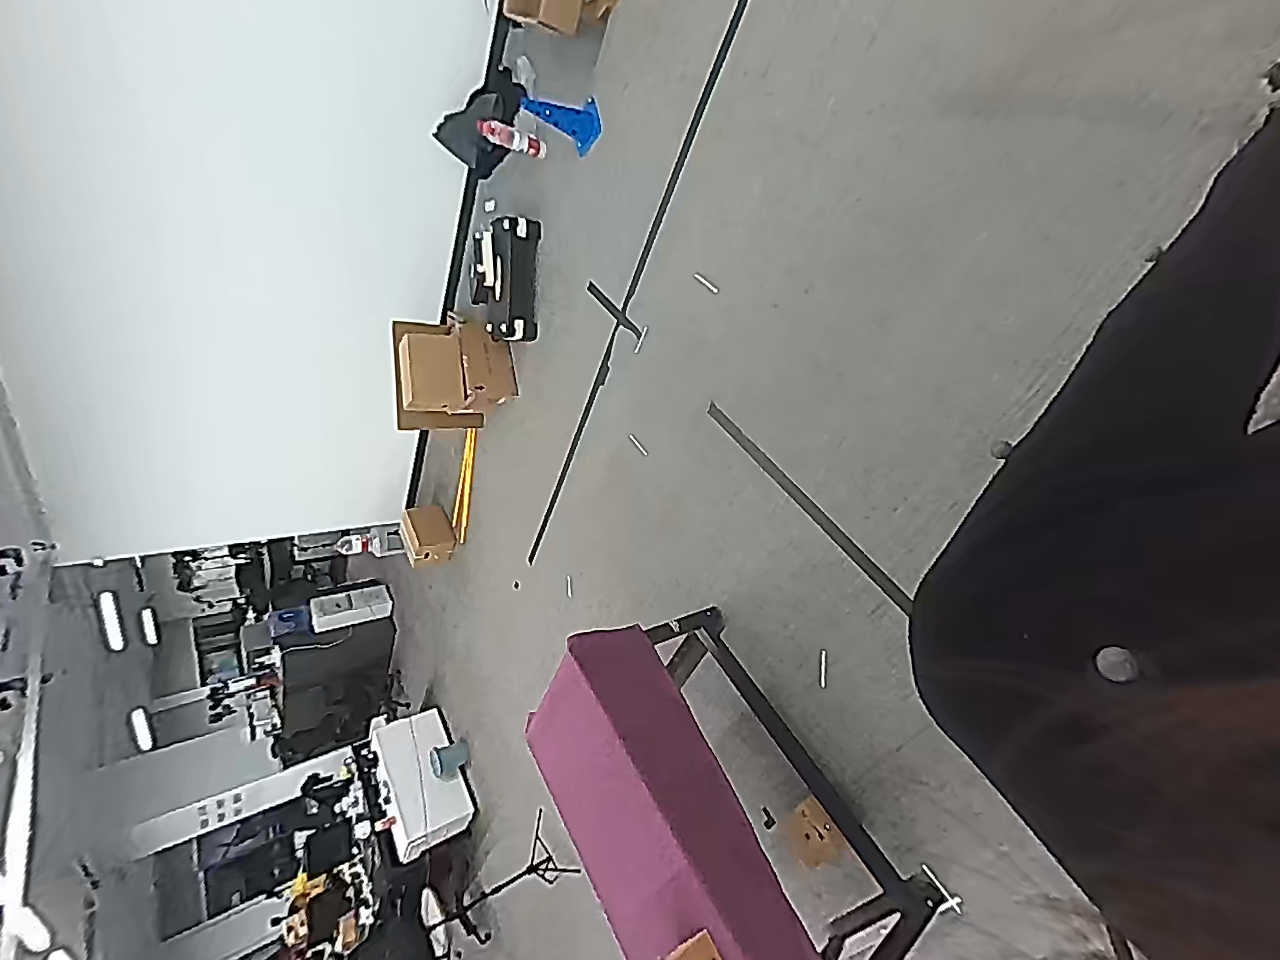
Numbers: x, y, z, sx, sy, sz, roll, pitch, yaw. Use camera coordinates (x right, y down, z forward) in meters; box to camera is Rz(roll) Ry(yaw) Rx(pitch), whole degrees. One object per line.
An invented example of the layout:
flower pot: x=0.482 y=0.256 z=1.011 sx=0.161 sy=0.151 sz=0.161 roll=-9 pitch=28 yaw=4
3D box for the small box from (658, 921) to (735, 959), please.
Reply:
small box: x=0.144 y=1.297 z=1.398 sx=0.168 sy=0.176 sz=0.179 roll=52 pitch=132 yaw=32
